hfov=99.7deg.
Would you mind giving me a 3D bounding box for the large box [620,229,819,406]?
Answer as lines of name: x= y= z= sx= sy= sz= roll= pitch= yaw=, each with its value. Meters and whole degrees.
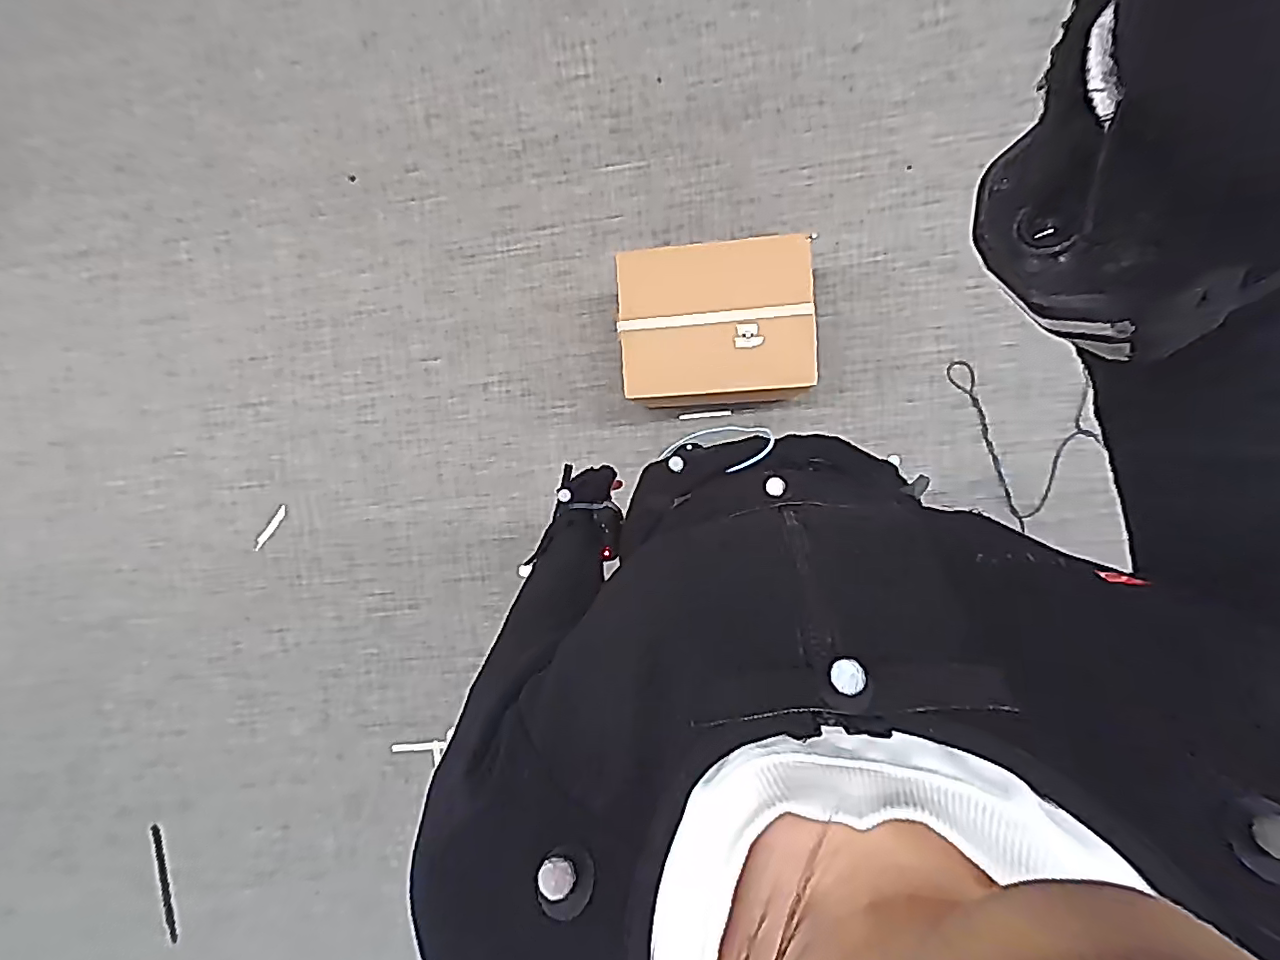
large box: x=0.178 y=-0.356 z=1.279 sx=0.408 sy=0.320 sz=0.320 roll=-3 pitch=94 yaw=6
